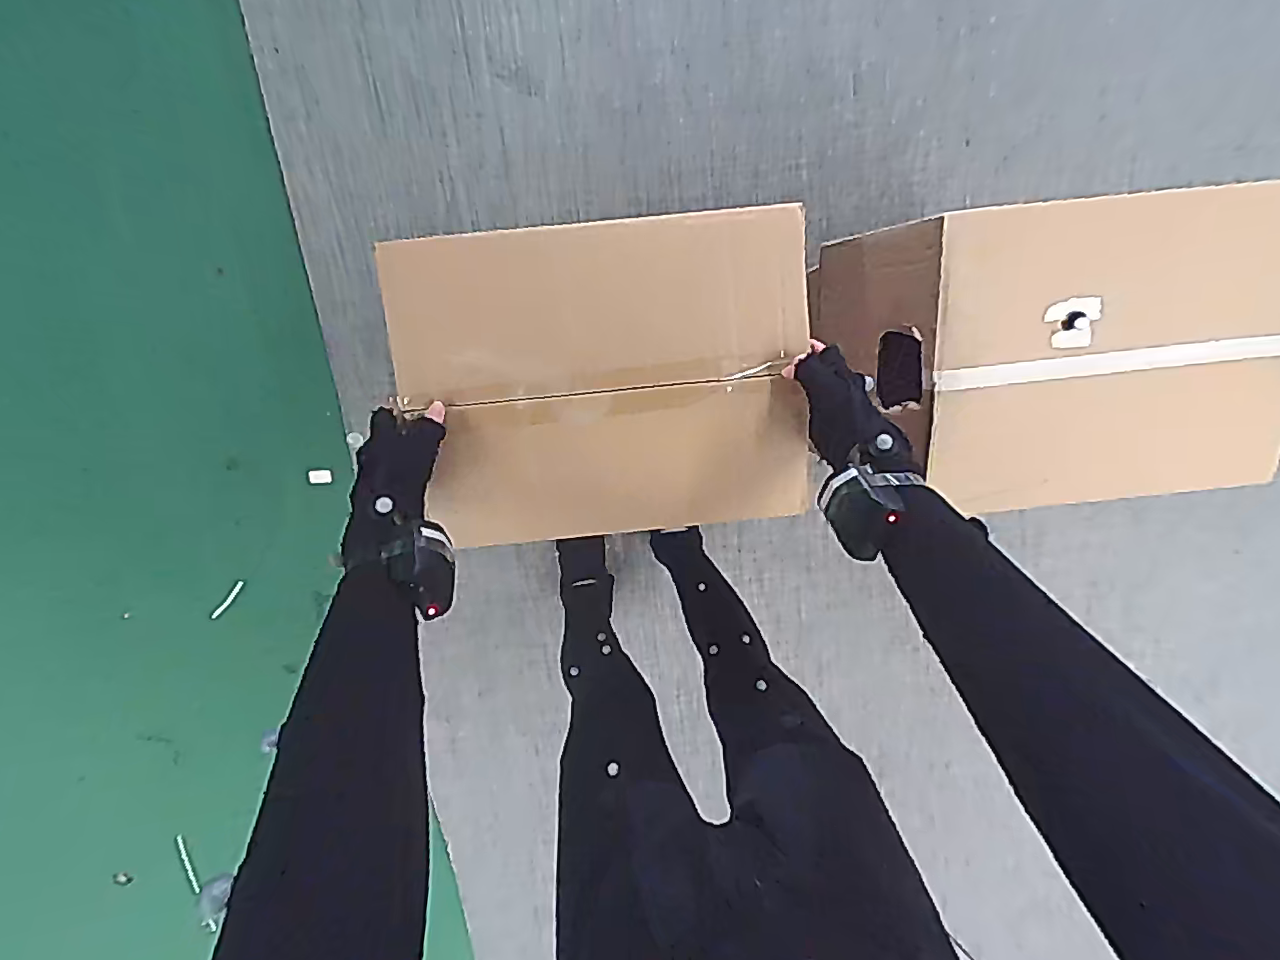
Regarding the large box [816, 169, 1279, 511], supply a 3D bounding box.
[{"bbox_3d":[0.477,-0.179,0.700,0.408,0.320,0.320,-6,109,0],"label":"large box"}]
